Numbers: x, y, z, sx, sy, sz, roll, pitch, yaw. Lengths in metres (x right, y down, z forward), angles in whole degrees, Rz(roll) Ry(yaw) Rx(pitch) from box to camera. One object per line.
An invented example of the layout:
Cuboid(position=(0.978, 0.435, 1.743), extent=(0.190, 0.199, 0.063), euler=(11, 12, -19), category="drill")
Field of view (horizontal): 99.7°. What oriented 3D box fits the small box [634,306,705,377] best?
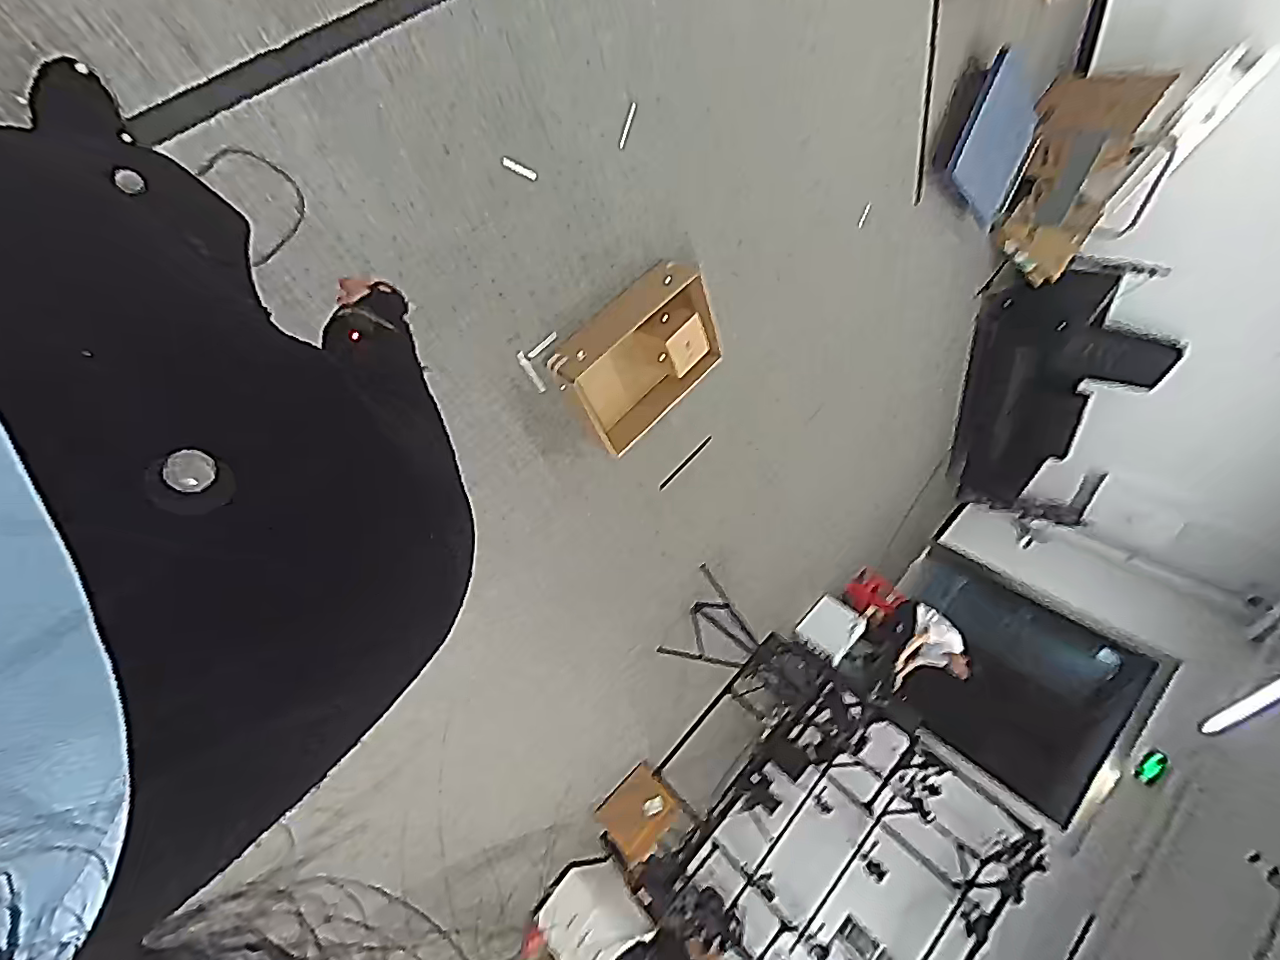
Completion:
Cuboid(position=(0.105, -0.512, 1.969), extent=(0.168, 0.176, 0.179), euler=(-45, 141, -13), category="small box")
